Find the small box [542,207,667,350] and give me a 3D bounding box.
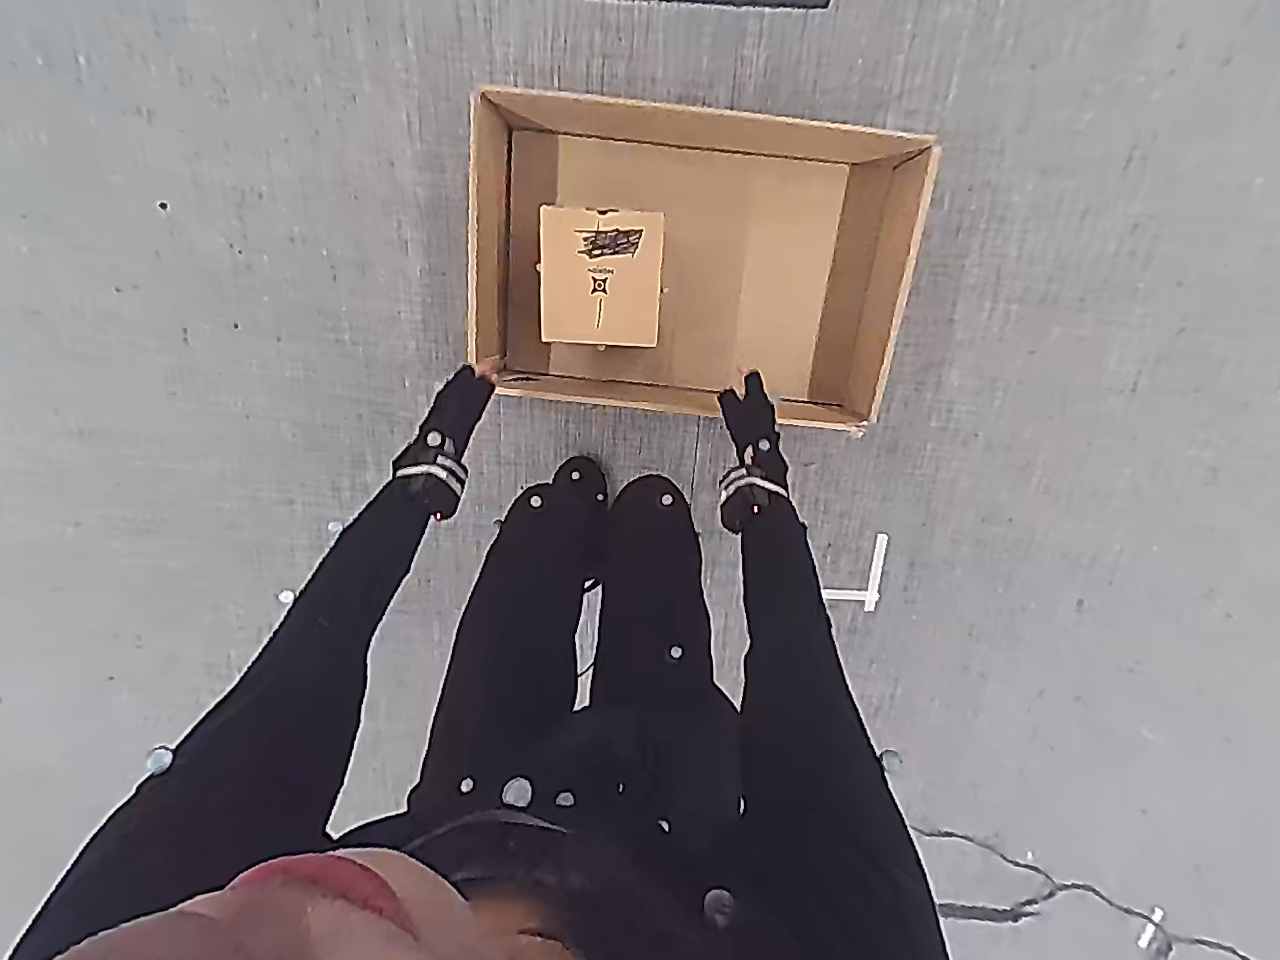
[{"bbox_3d":[-0.051,-0.294,0.809,0.168,0.176,0.179,3,108,0],"label":"small box"}]
